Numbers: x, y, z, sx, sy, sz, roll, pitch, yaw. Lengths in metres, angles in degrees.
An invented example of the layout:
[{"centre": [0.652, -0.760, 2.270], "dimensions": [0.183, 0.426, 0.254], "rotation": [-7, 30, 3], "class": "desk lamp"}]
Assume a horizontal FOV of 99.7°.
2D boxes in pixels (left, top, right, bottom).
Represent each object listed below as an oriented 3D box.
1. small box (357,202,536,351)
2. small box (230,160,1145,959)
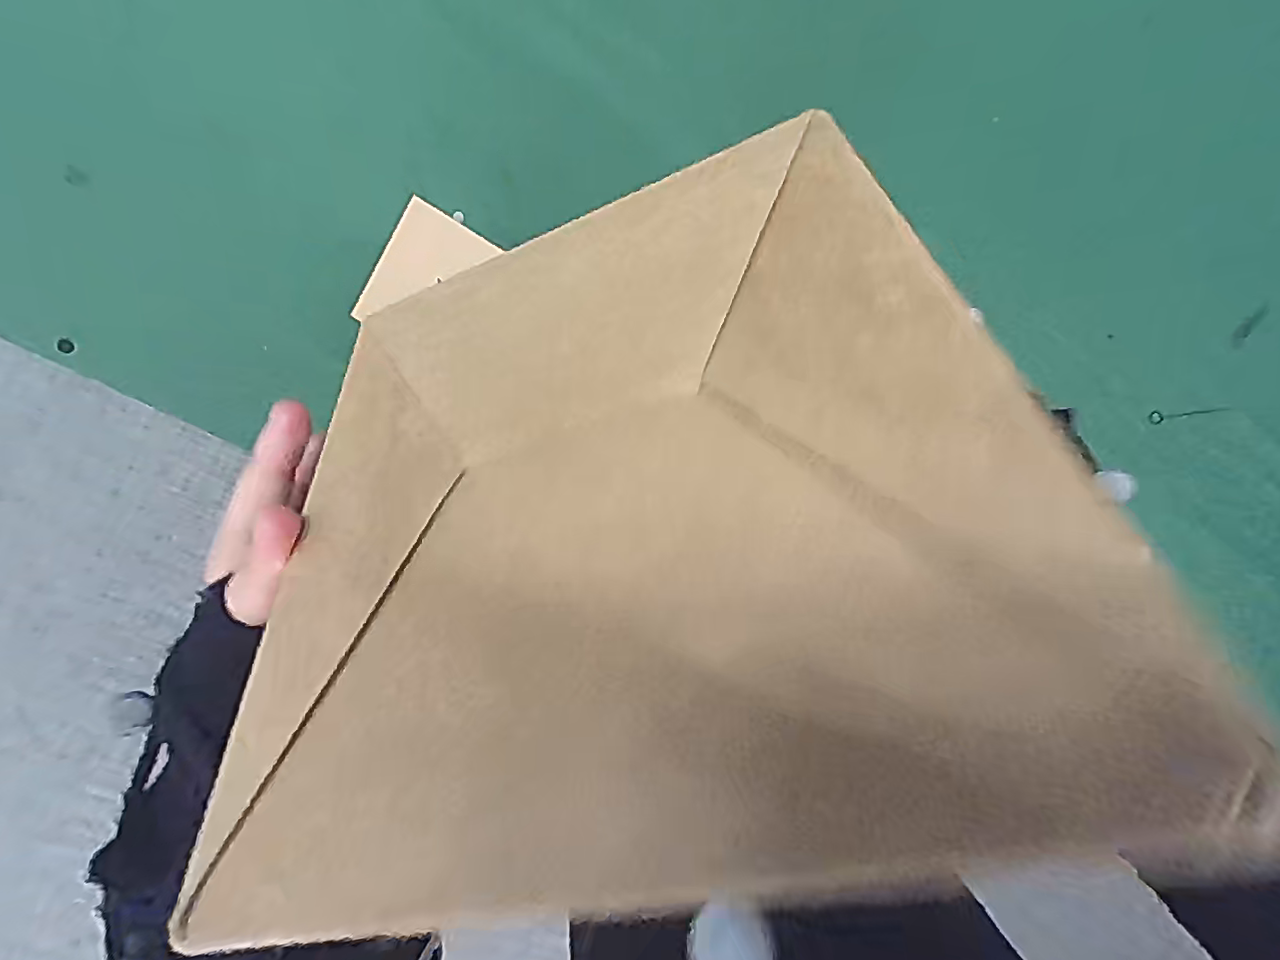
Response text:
[{"centre": [-0.246, -0.239, 0.749], "dimensions": [0.179, 0.176, 0.168], "rotation": [30, 95, -14], "class": "small box"}, {"centre": [0.016, 0.033, 0.188], "dimensions": [0.168, 0.179, 0.176], "rotation": [-16, 145, 17], "class": "small box"}]
